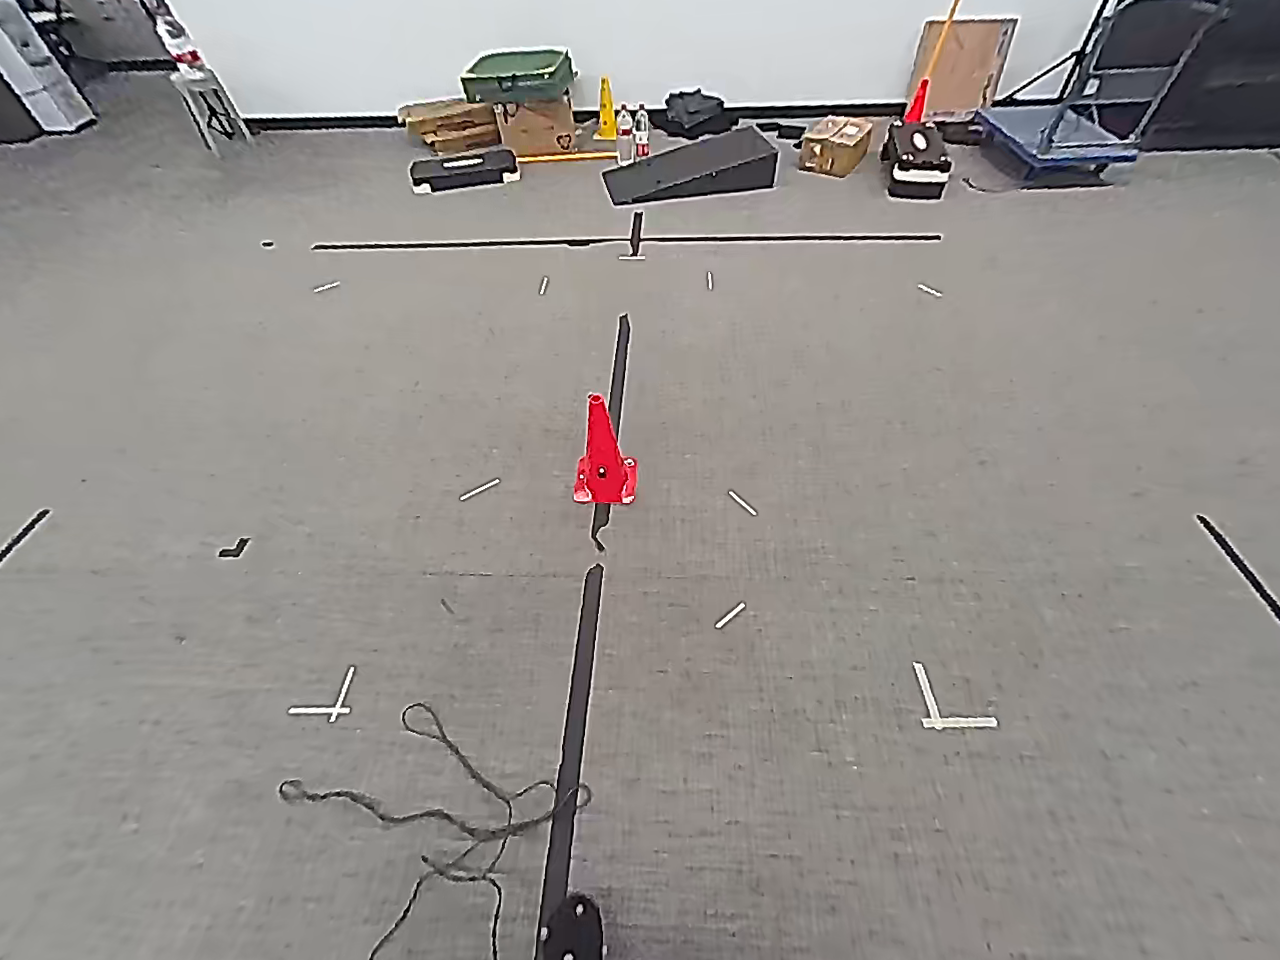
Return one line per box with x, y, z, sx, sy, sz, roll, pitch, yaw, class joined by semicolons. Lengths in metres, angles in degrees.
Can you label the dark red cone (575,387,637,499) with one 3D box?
-0.117;-0.124;1.648;0.201;0.394;0.202;0;50;3;dark red cone
